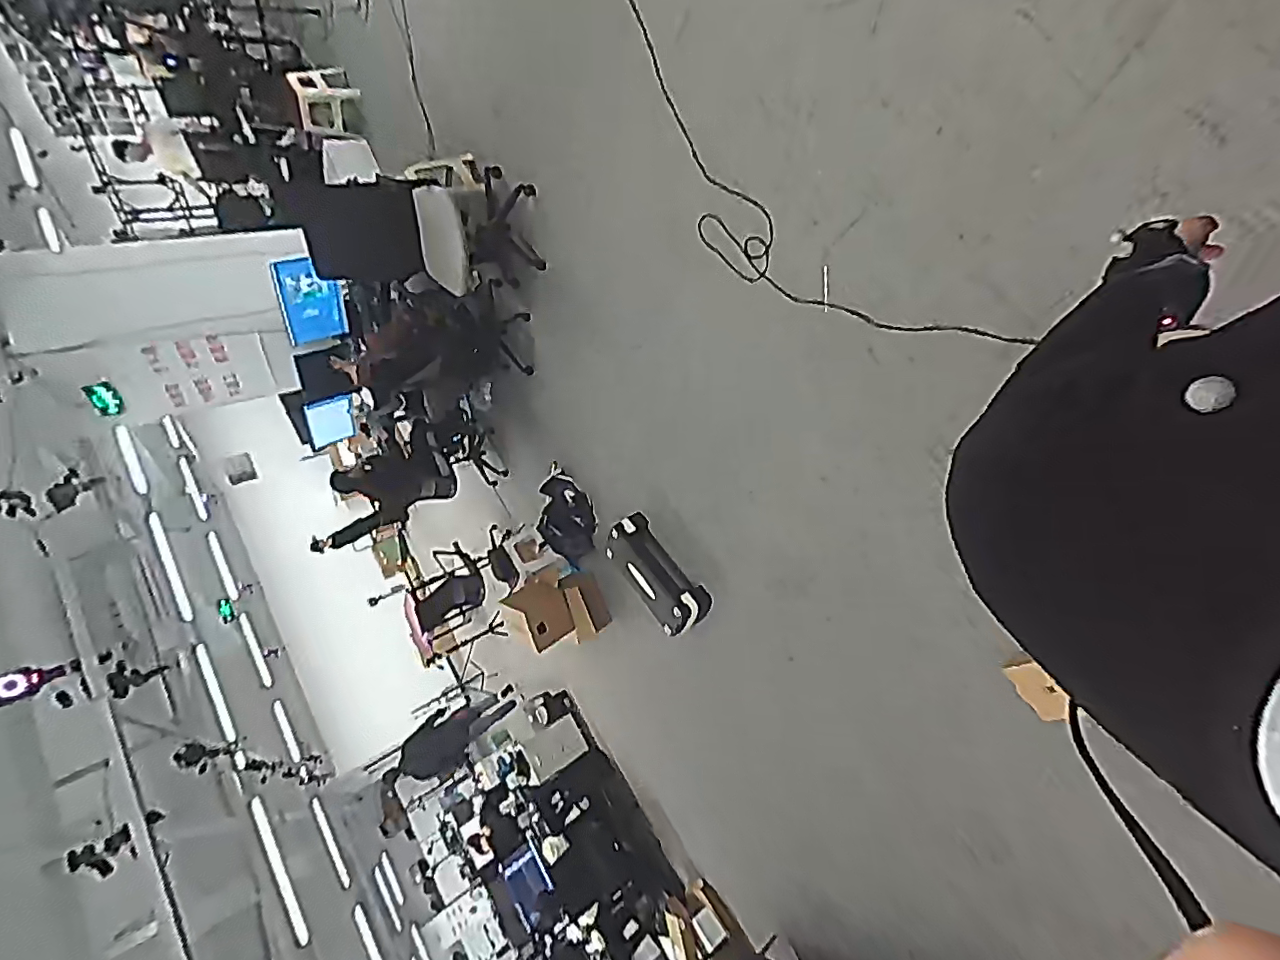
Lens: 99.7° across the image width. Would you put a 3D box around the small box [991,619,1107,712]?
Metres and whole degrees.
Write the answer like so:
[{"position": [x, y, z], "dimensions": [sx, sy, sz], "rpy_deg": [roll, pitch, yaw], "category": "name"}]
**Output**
[{"position": [1.144, 0.518, 1.511], "dimensions": [0.168, 0.176, 0.179], "rpy_deg": [54, 145, 14], "category": "small box"}]
